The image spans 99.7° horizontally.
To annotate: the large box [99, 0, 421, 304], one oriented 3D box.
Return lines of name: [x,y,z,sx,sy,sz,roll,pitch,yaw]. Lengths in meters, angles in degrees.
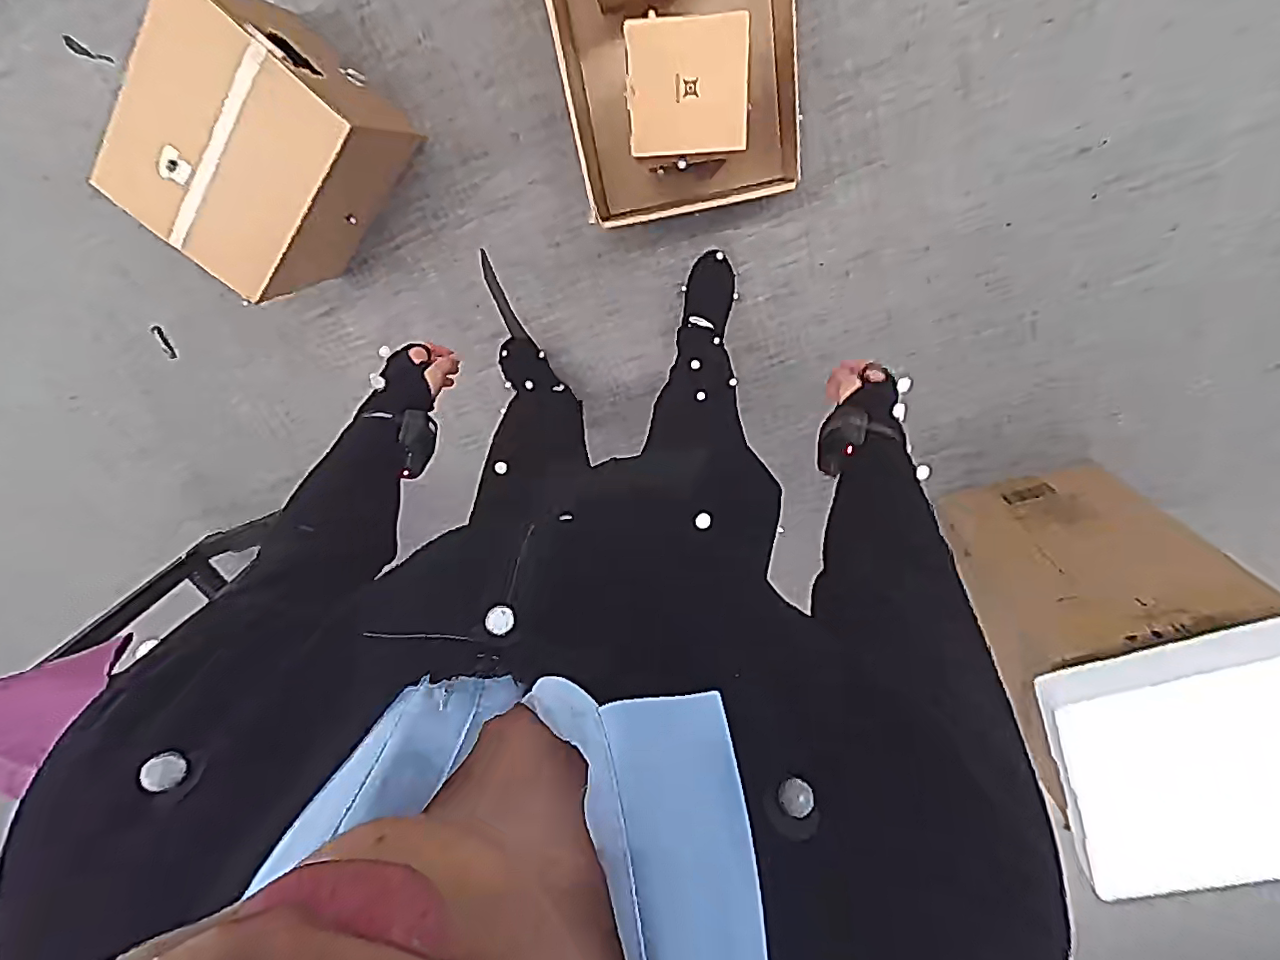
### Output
large box: [-0.703,-0.628,1.043,0.320,0.320,0.408,40,115,-17]
